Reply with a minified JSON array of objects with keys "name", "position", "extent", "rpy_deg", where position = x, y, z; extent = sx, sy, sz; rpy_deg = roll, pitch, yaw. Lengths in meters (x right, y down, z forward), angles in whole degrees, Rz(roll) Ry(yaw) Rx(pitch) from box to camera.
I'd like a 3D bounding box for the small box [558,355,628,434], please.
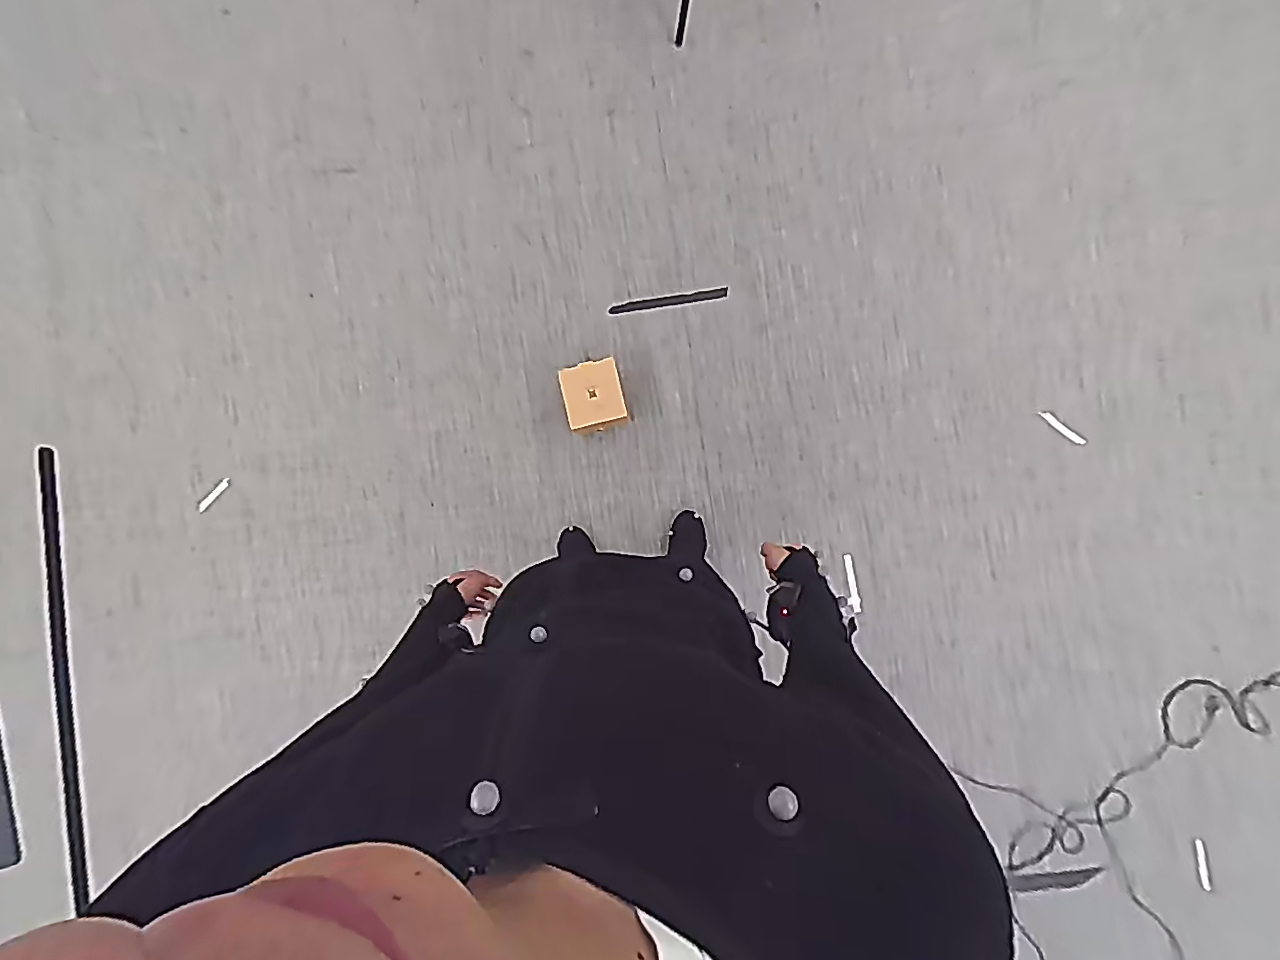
[{"name":"small box","position":[-0.134,-0.245,1.587],"extent":[0.168,0.176,0.179],"rpy_deg":[-13,88,1]}]
